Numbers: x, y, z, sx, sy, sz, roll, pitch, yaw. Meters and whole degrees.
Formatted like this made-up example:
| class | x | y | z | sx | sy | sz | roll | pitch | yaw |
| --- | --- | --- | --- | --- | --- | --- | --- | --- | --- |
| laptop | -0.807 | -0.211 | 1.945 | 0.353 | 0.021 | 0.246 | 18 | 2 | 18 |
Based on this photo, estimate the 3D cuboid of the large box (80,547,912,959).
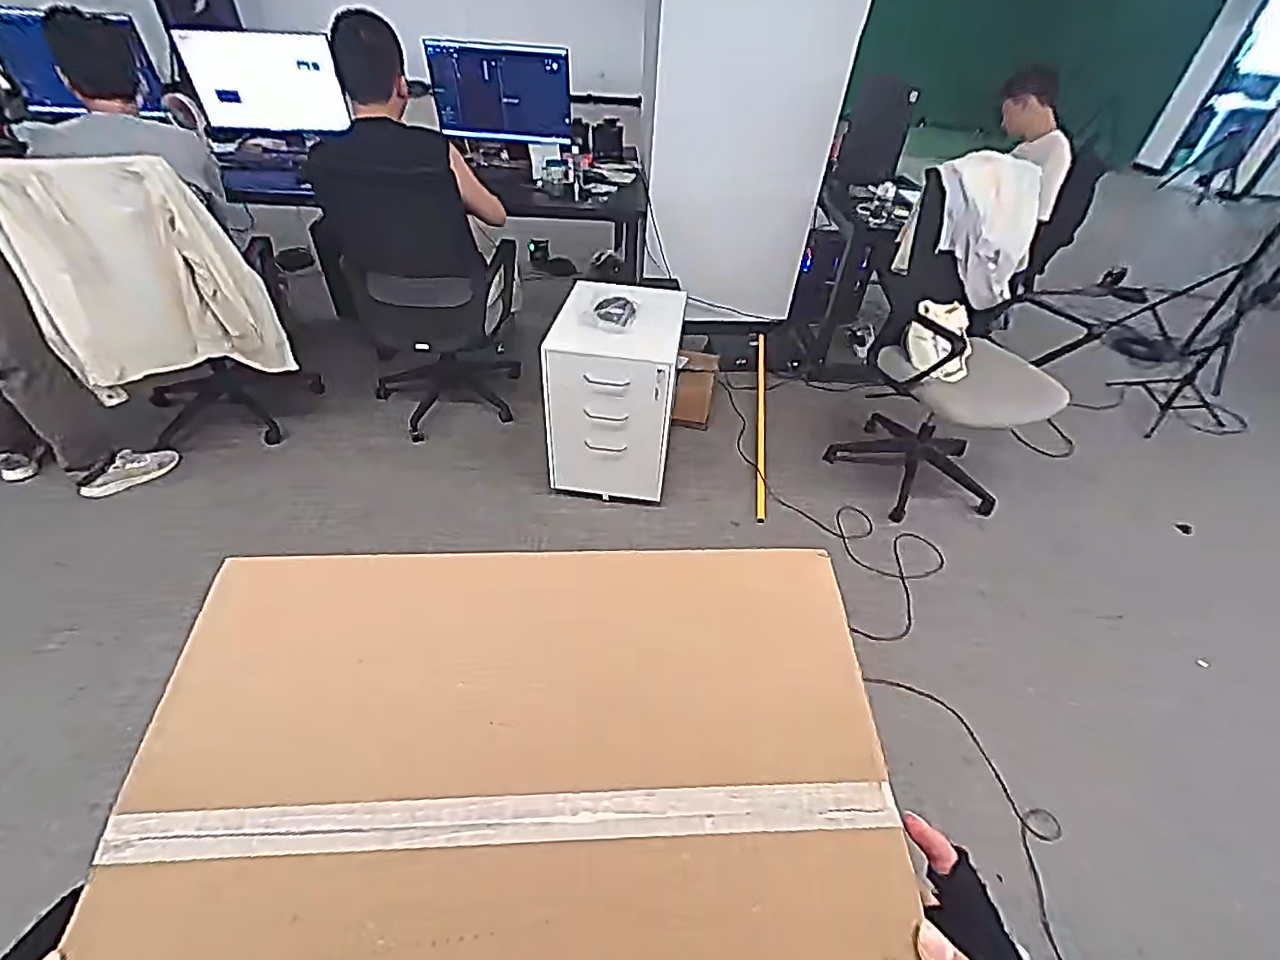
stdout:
| class | x | y | z | sx | sy | sz | roll | pitch | yaw |
| --- | --- | --- | --- | --- | --- | --- | --- | --- | --- |
| large box | -0.073 | 0.263 | 0.418 | 0.408 | 0.320 | 0.320 | 0 | 56 | -3 |
